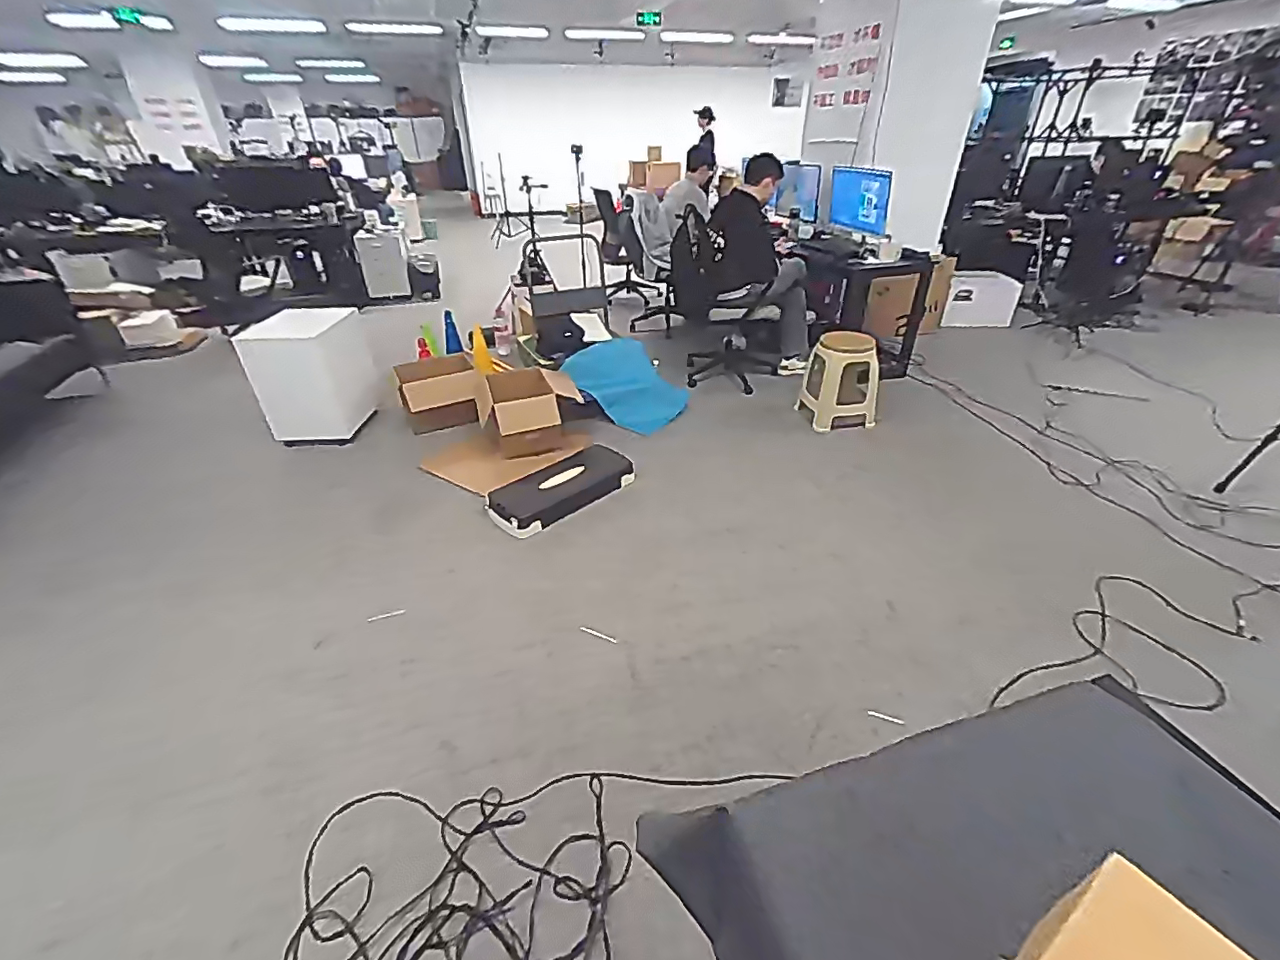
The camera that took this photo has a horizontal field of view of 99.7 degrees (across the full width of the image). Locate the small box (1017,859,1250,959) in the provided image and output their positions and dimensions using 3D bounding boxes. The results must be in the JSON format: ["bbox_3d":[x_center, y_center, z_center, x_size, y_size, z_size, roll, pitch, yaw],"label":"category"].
[{"bbox_3d":[0.368,0.438,0.392,0.179,0.176,0.168,-22,39,-27],"label":"small box"}]
